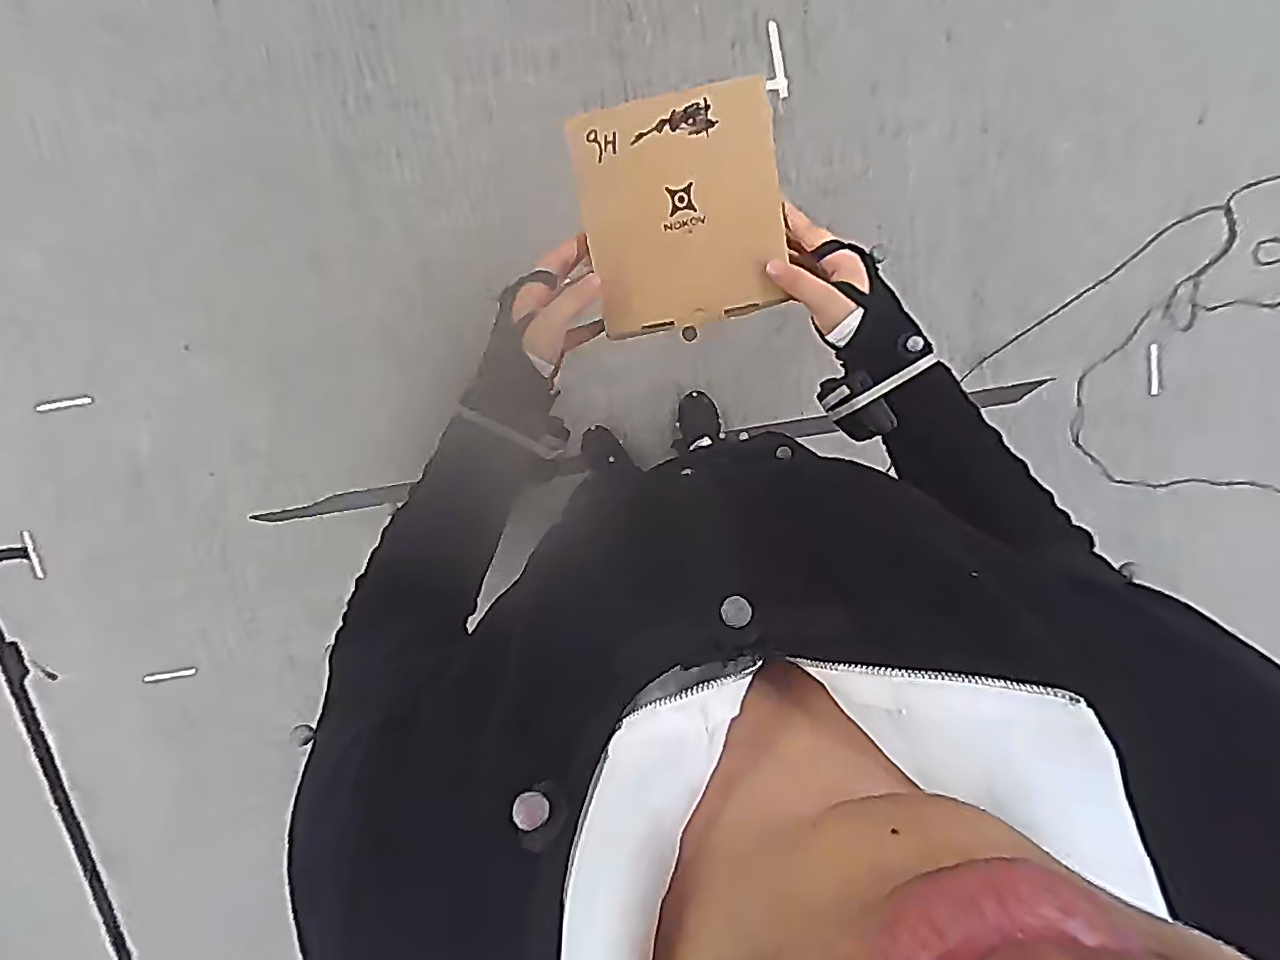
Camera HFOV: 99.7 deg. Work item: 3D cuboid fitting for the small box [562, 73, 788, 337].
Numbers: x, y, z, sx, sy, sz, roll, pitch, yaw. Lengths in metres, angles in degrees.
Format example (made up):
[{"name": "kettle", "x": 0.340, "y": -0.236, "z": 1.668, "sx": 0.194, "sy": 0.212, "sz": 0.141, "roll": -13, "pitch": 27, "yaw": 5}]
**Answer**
[{"name": "small box", "x": 0.033, "y": -0.244, "z": 0.526, "sx": 0.168, "sy": 0.176, "sz": 0.179, "roll": -12, "pitch": 105, "yaw": 2}]
